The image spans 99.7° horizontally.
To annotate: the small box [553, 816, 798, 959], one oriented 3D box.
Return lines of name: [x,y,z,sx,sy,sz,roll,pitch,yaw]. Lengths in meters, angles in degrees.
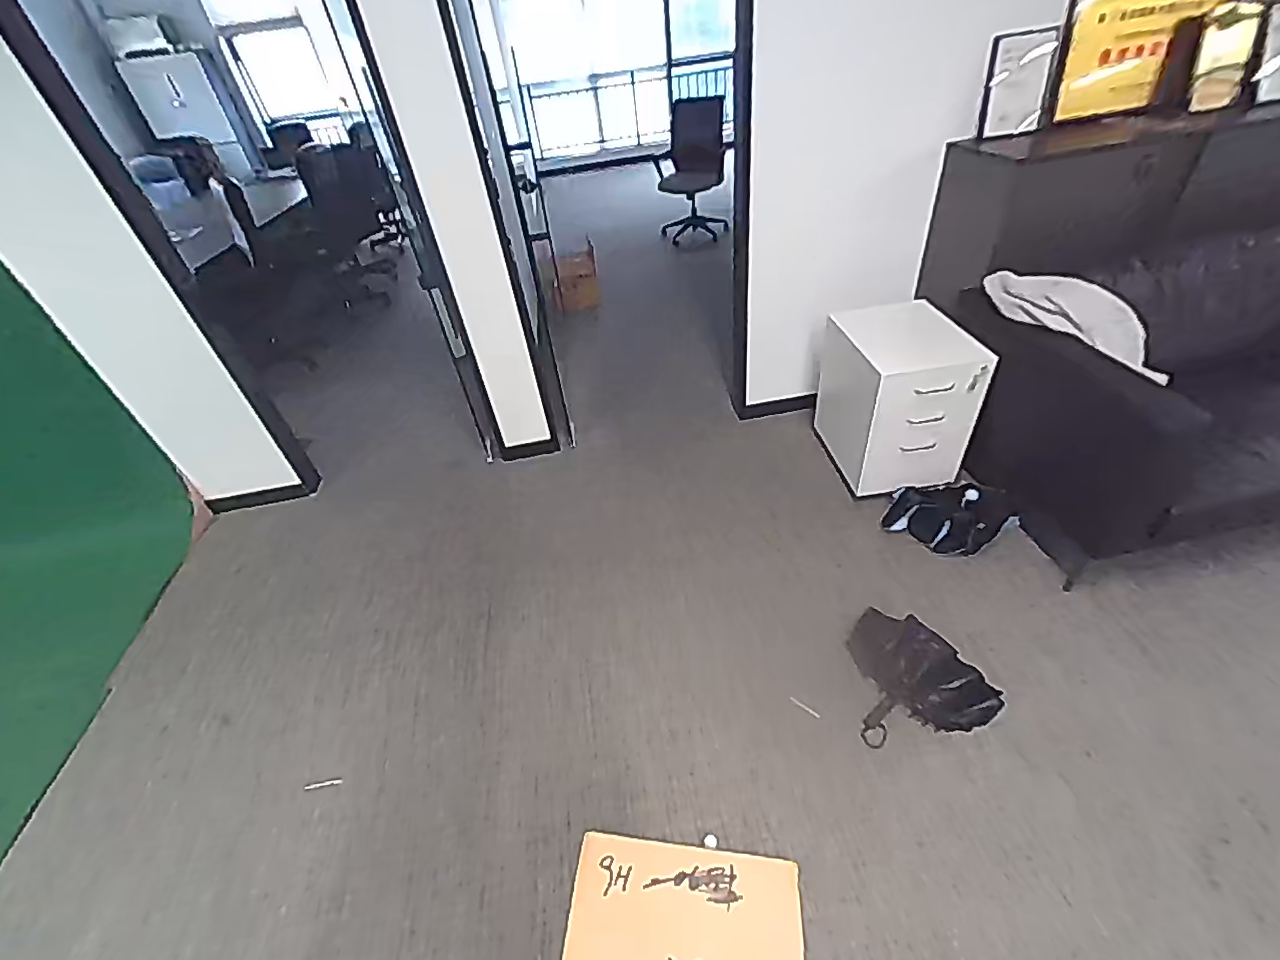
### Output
small box: [0.022,0.386,0.408,0.168,0.176,0.179,6,44,5]
